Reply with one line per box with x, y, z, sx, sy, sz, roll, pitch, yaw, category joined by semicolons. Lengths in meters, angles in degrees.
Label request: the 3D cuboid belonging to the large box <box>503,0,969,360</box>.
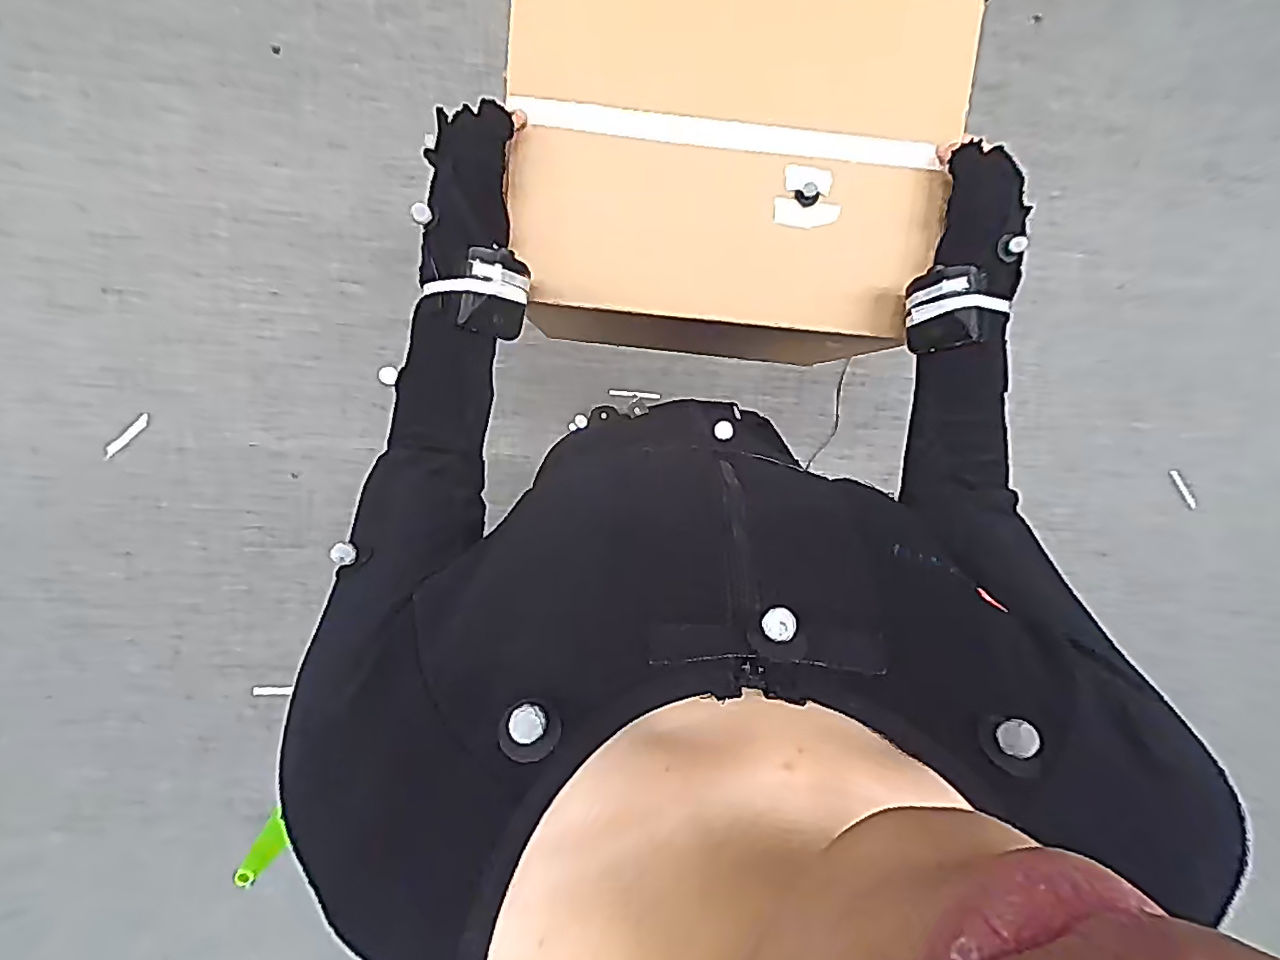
0.074;-0.324;0.629;0.408;0.320;0.320;5;98;-4;large box
